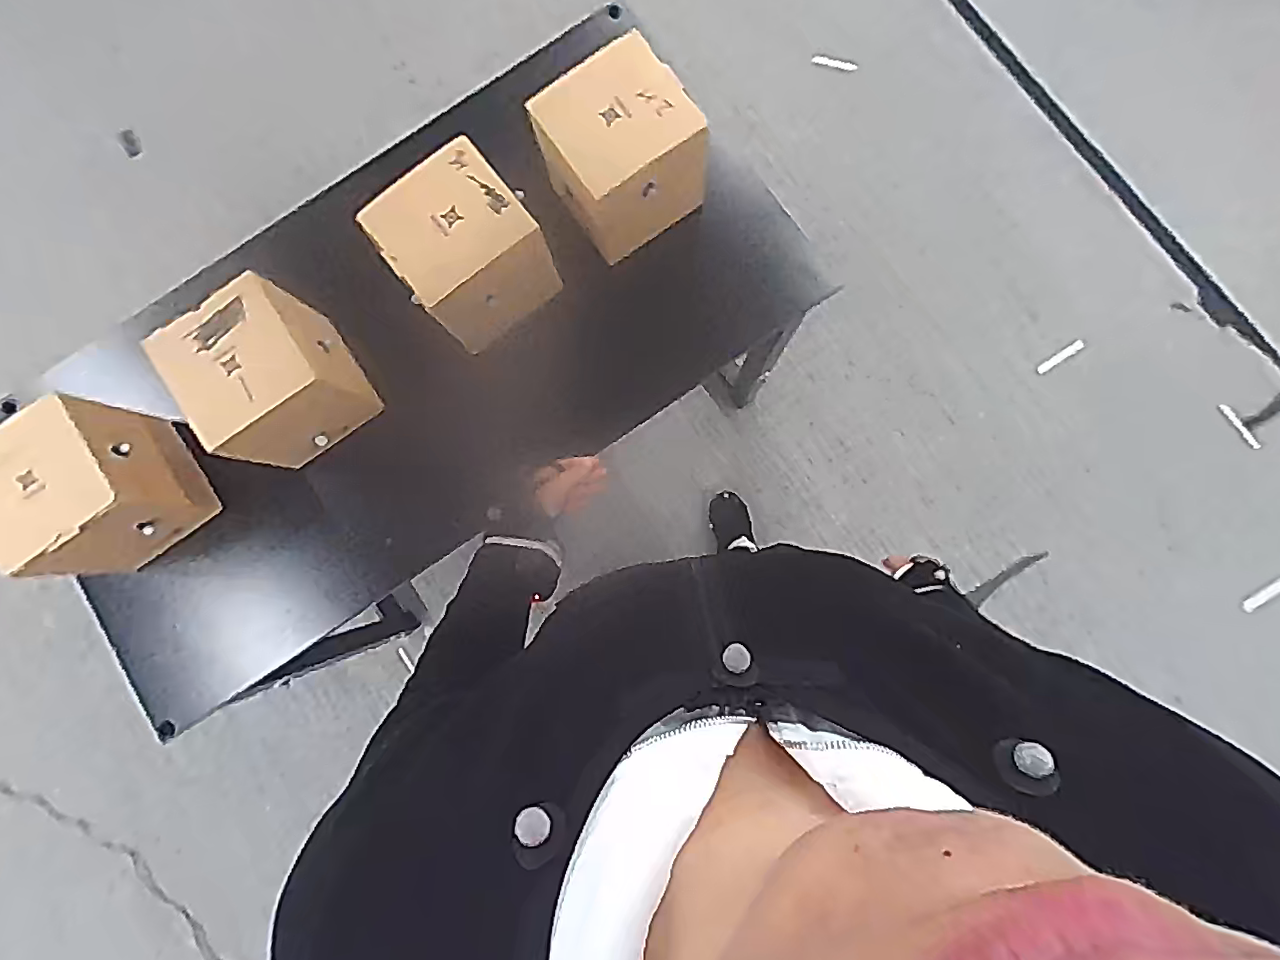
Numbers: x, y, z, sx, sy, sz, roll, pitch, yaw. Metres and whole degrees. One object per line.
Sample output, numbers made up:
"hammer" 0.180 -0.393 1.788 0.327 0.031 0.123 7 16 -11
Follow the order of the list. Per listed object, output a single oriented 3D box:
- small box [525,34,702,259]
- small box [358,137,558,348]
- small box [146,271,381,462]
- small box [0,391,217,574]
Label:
"small box" -0.029 -0.452 0.764 0.179 0.176 0.168 -34 84 -1
"small box" -0.240 -0.317 0.761 0.179 0.176 0.168 -38 84 -1
"small box" -0.508 -0.144 0.755 0.168 0.176 0.179 -35 84 -1
"small box" -0.751 0.009 0.750 0.168 0.176 0.179 -36 83 -3
